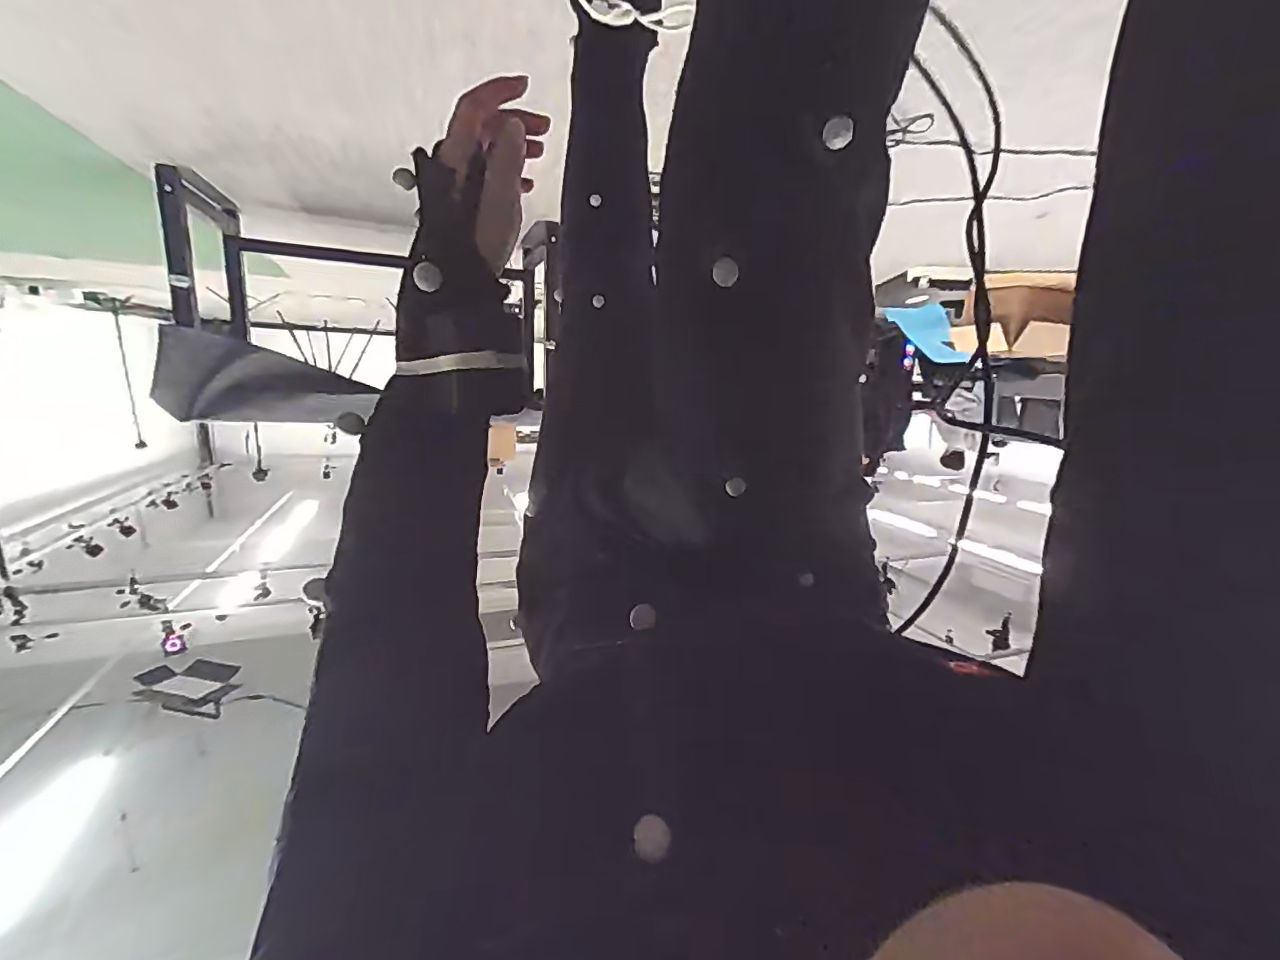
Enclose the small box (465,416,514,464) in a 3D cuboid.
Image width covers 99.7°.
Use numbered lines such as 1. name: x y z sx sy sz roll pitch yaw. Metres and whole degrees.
1. small box: -0.604 -0.163 2.159 0.168 0.176 0.179 -1 -166 -25
